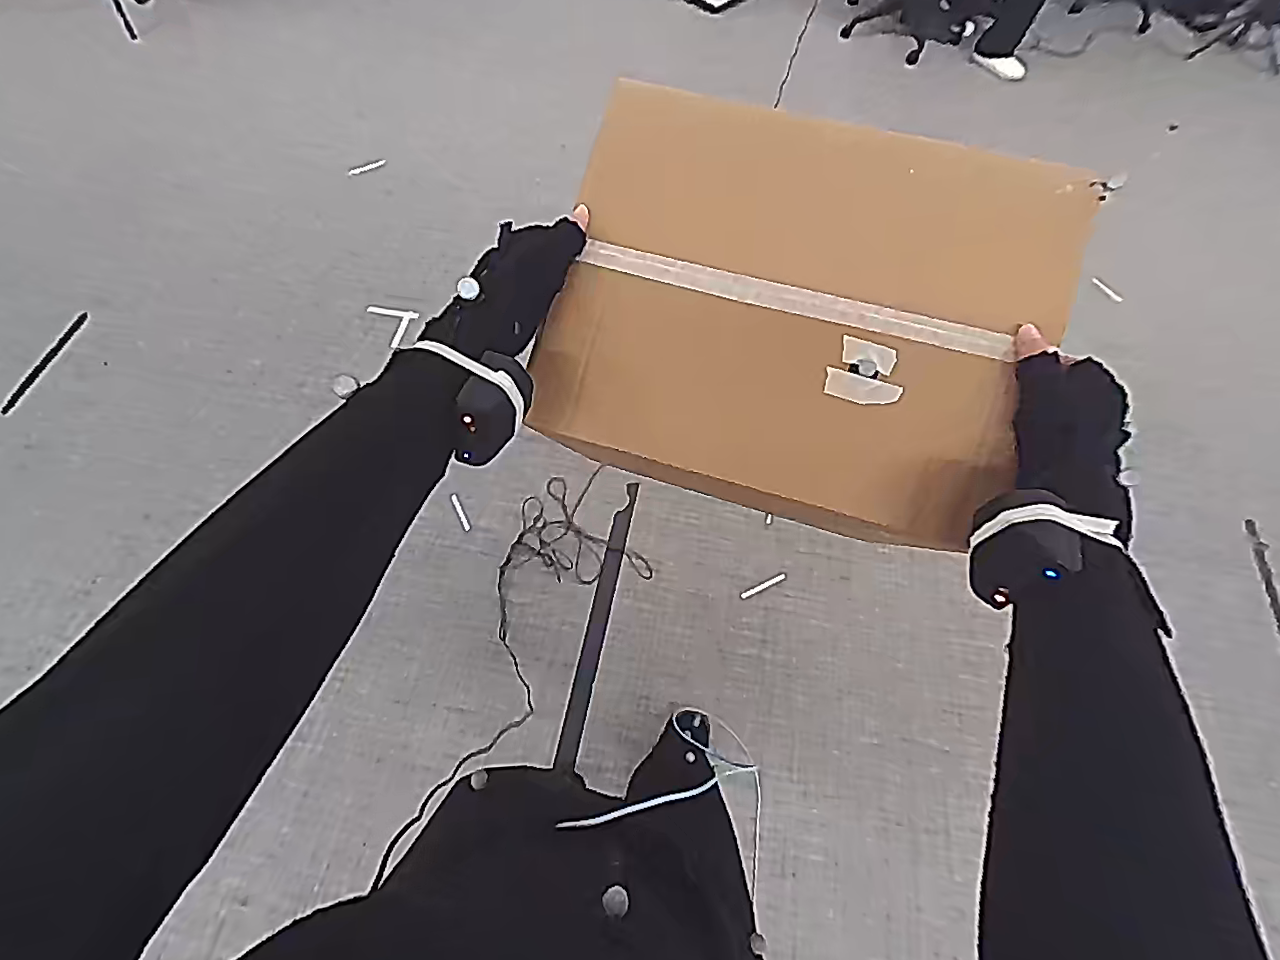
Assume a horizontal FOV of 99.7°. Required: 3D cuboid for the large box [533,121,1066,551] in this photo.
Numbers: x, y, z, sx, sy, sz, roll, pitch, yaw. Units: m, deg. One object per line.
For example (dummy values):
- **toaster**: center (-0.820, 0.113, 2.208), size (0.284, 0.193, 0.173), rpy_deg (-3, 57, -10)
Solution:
- **large box**: center (0.143, -0.125, 0.616), size (0.408, 0.320, 0.320), rpy_deg (16, 88, 6)
